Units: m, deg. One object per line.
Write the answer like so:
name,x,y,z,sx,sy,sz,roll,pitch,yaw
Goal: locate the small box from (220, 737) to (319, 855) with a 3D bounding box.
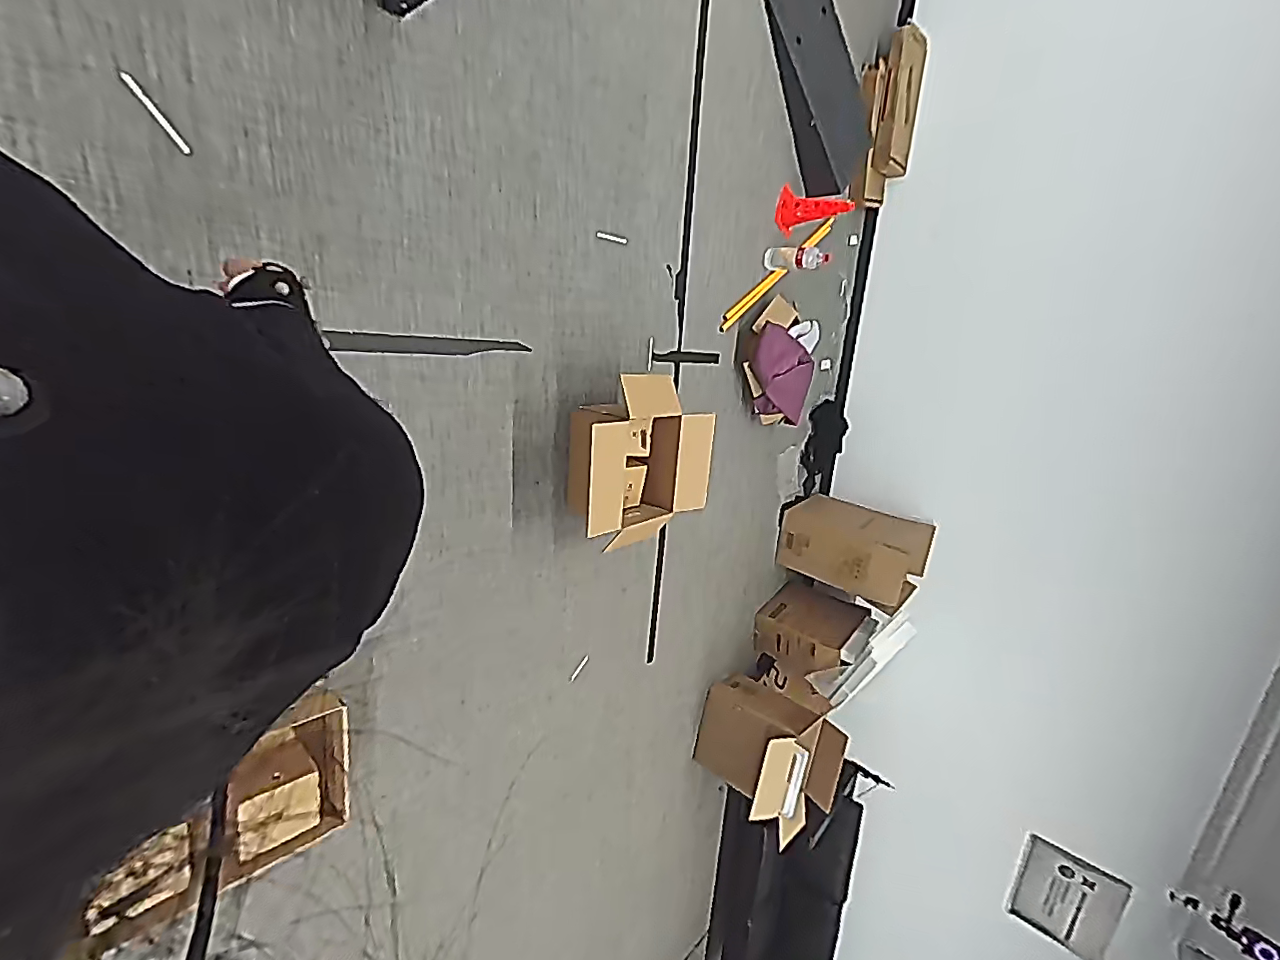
small box,-0.963,0.808,1.406,0.179,0.176,0.168,-7,107,-47
